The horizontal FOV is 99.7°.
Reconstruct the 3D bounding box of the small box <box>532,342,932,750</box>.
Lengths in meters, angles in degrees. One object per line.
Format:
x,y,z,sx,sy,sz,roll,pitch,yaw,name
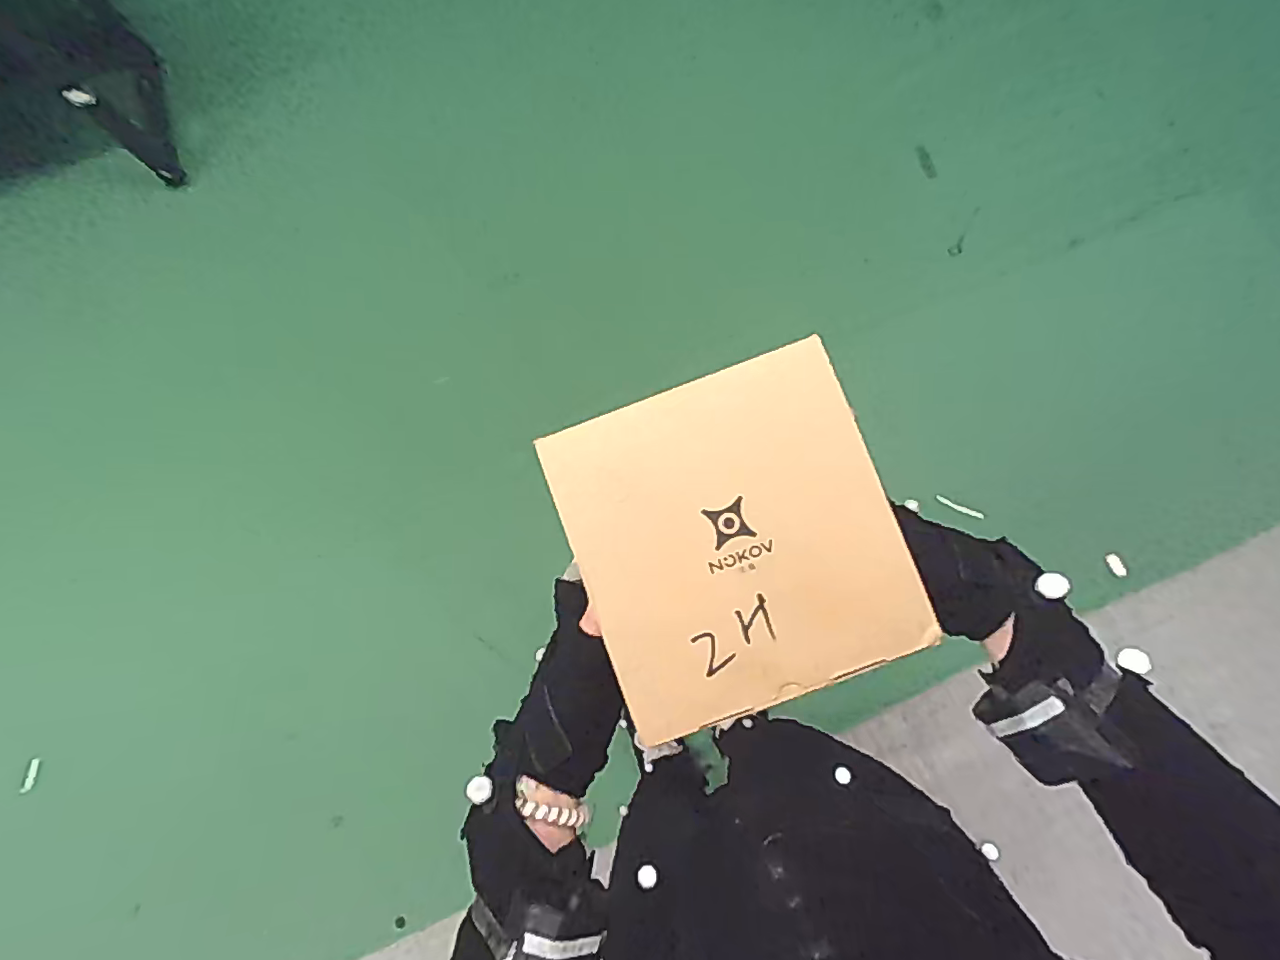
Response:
0.048,0.038,0.363,0.168,0.176,0.179,-21,86,2,small box
